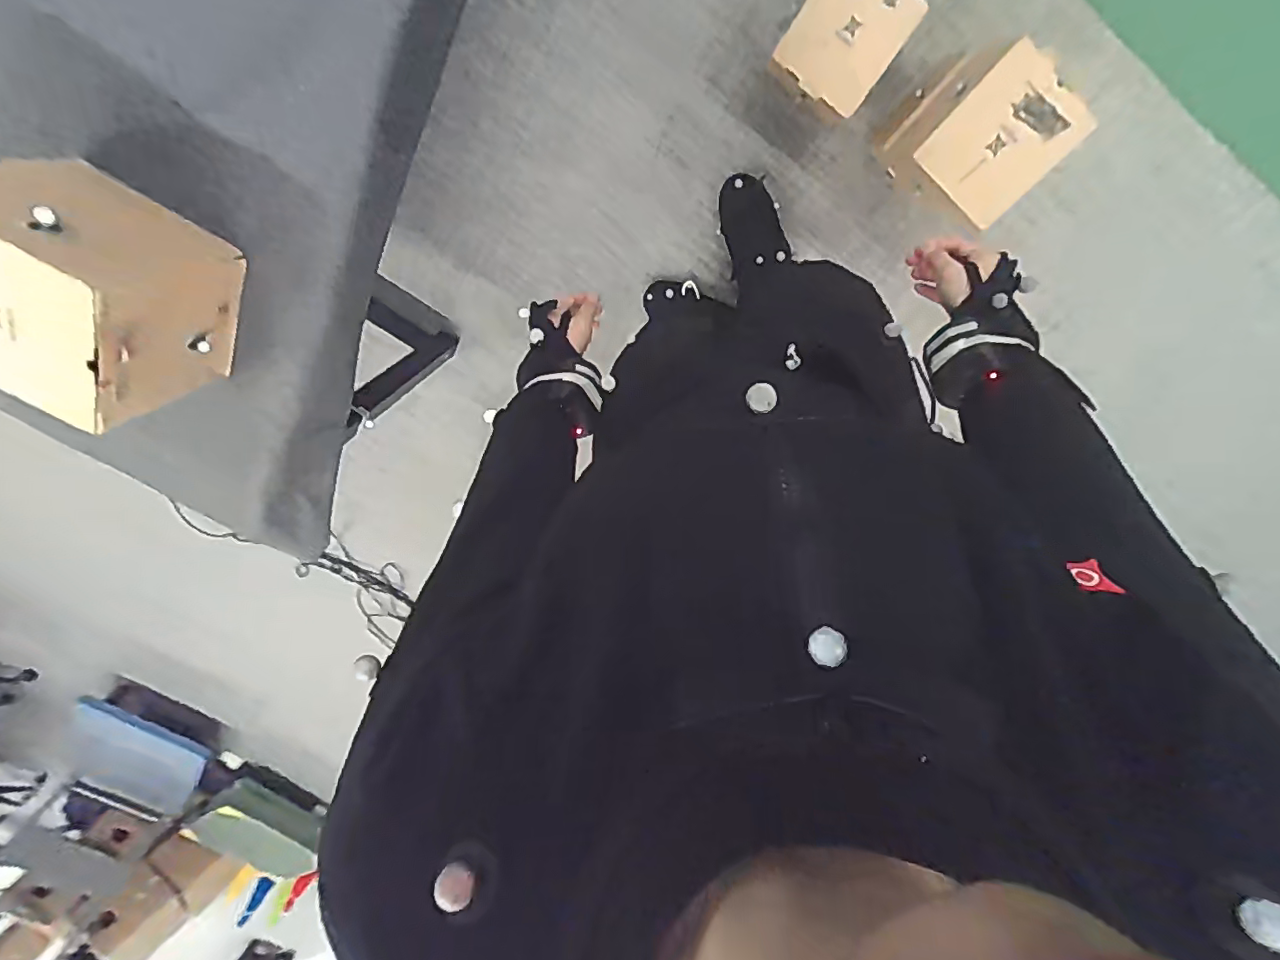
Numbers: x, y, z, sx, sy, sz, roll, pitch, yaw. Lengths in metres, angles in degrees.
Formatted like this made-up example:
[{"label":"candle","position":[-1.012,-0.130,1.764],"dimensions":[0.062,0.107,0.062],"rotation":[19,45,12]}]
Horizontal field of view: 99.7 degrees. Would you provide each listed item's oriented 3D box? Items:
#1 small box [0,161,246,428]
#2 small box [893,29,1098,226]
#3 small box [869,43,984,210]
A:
[{"label":"small box","position":[-0.542,-0.187,0.532],"dimensions":[0.179,0.176,0.168],"rotation":[29,121,-10]},{"label":"small box","position":[0.521,-0.526,0.823],"dimensions":[0.168,0.176,0.179],"rotation":[37,121,-13]},{"label":"small box","position":[0.538,-0.619,0.958],"dimensions":[0.168,0.176,0.179],"rotation":[37,122,-13]}]
